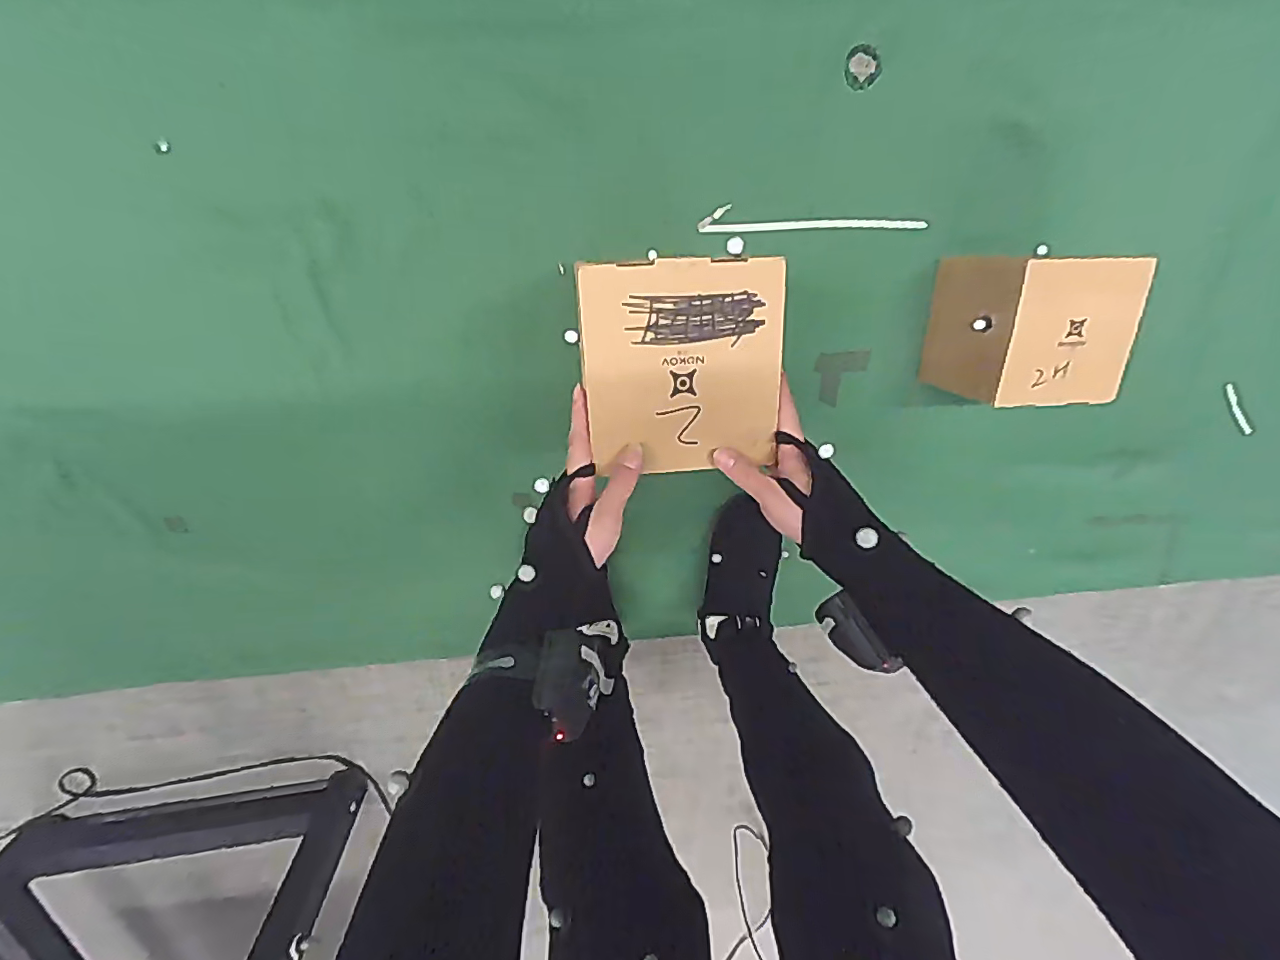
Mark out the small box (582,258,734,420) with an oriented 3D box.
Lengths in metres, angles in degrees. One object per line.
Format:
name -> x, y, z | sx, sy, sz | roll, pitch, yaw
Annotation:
small box -> 0.013, -0.183, 0.681 | 0.168, 0.176, 0.179 | -3, 111, -6

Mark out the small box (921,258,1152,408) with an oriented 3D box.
small box -> 0.513, -0.203, 0.732 | 0.168, 0.176, 0.179 | -2, 112, -6
